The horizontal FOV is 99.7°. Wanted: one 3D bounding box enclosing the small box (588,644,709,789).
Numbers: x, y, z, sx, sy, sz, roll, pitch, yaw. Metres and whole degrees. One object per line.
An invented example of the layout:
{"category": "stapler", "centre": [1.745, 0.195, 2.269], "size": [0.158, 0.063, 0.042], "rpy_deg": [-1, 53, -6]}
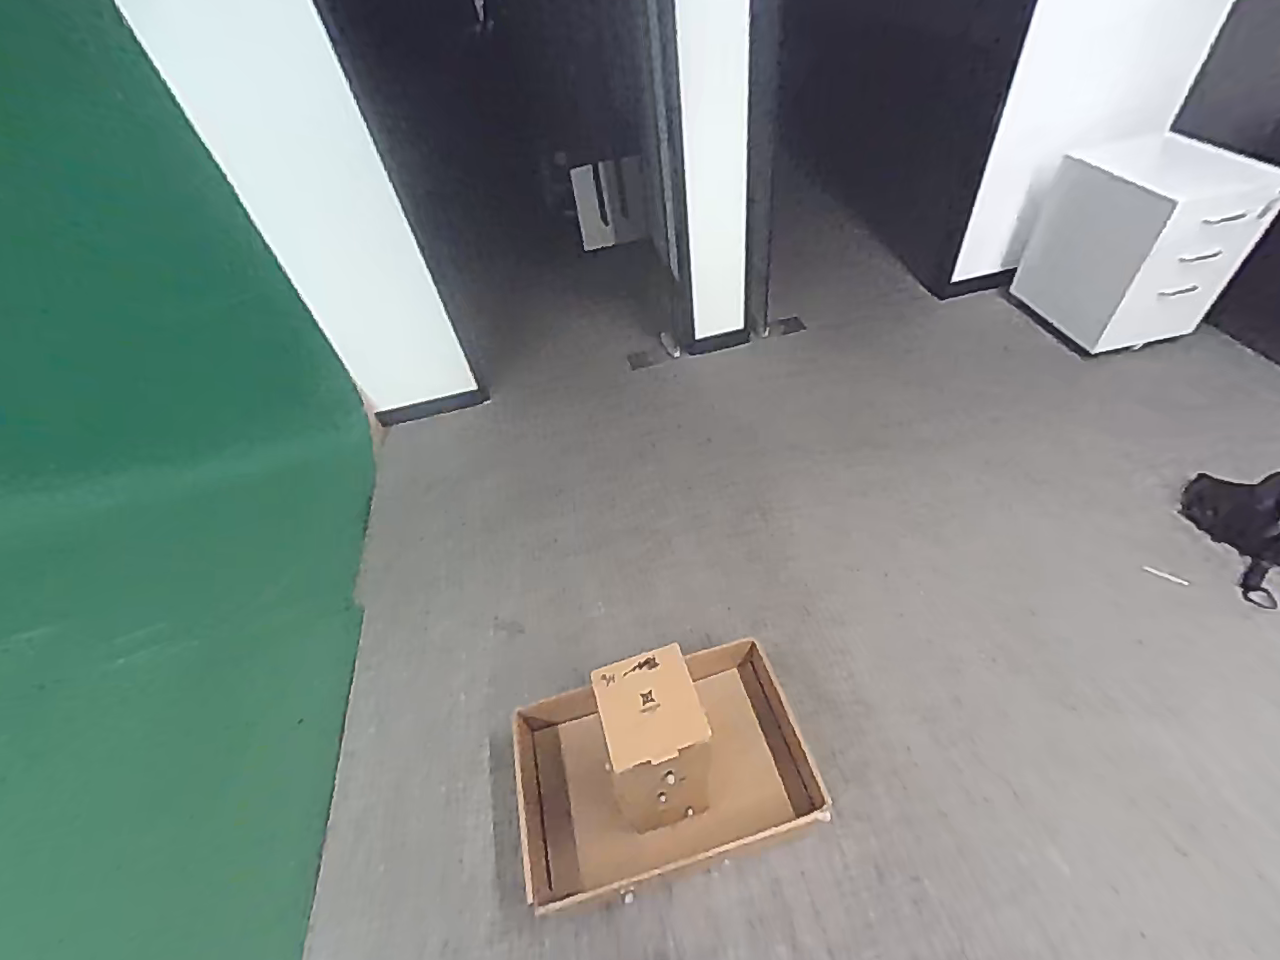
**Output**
{"category": "small box", "centre": [0.019, 0.435, 0.982], "size": [0.168, 0.176, 0.179], "rpy_deg": [-18, 47, -7]}

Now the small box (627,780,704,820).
{"category": "small box", "centre": [0.041, 0.638, 1.213], "size": [0.168, 0.176, 0.179], "rpy_deg": [-15, 45, -6]}

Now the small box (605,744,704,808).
{"category": "small box", "centre": [0.026, 0.542, 1.102], "size": [0.179, 0.176, 0.168], "rpy_deg": [-14, 46, -4]}
